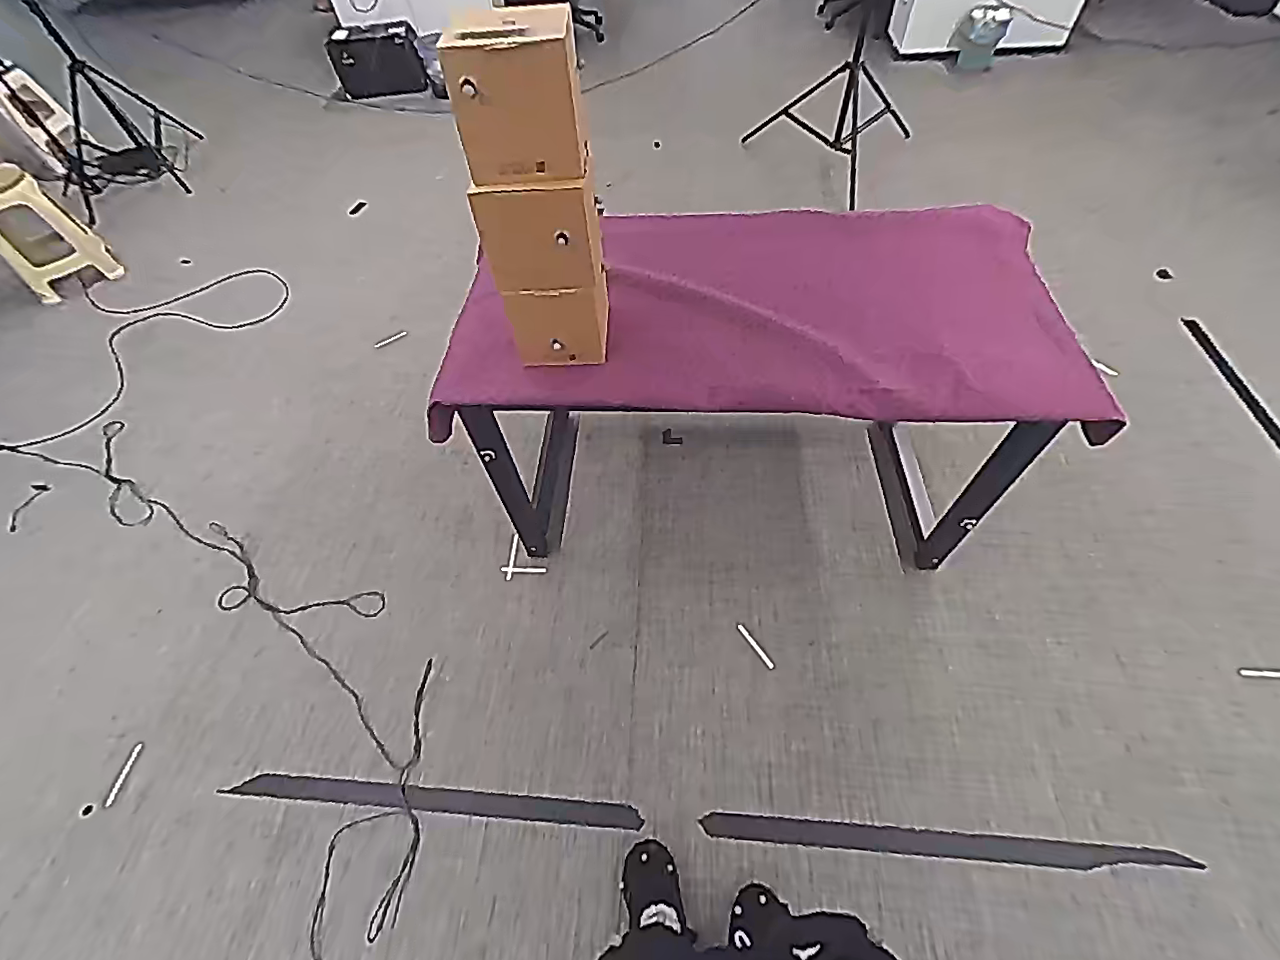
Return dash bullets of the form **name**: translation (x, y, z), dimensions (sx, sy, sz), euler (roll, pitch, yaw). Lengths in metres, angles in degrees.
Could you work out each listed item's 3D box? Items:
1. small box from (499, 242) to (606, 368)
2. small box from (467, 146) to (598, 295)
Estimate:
- **small box**: translation (-0.157, -0.337, 1.040), dimensions (0.168, 0.176, 0.179), euler (-1, 55, 3)
- **small box**: translation (-0.167, -0.432, 0.909), dimensions (0.179, 0.176, 0.168), euler (-3, 53, 3)
